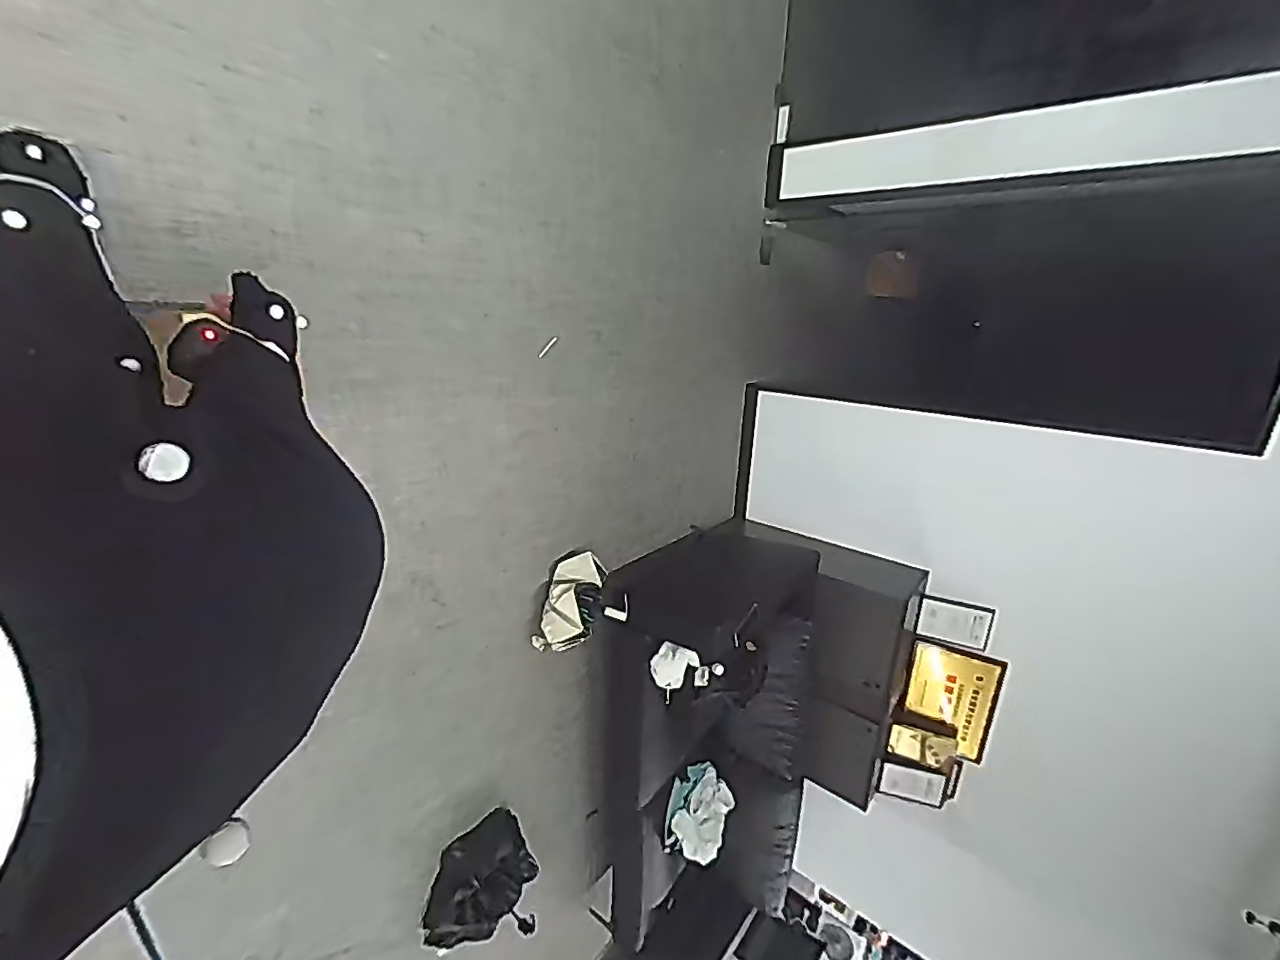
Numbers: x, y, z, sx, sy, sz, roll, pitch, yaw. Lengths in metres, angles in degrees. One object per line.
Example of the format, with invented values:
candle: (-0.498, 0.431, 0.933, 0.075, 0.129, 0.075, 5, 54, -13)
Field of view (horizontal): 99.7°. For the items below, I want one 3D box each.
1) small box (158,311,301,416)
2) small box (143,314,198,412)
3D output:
small box: (-0.781, -0.228, 1.030, 0.168, 0.176, 0.179, -18, 117, -49)
small box: (-0.908, -0.247, 1.135, 0.168, 0.176, 0.179, -14, 114, -50)
